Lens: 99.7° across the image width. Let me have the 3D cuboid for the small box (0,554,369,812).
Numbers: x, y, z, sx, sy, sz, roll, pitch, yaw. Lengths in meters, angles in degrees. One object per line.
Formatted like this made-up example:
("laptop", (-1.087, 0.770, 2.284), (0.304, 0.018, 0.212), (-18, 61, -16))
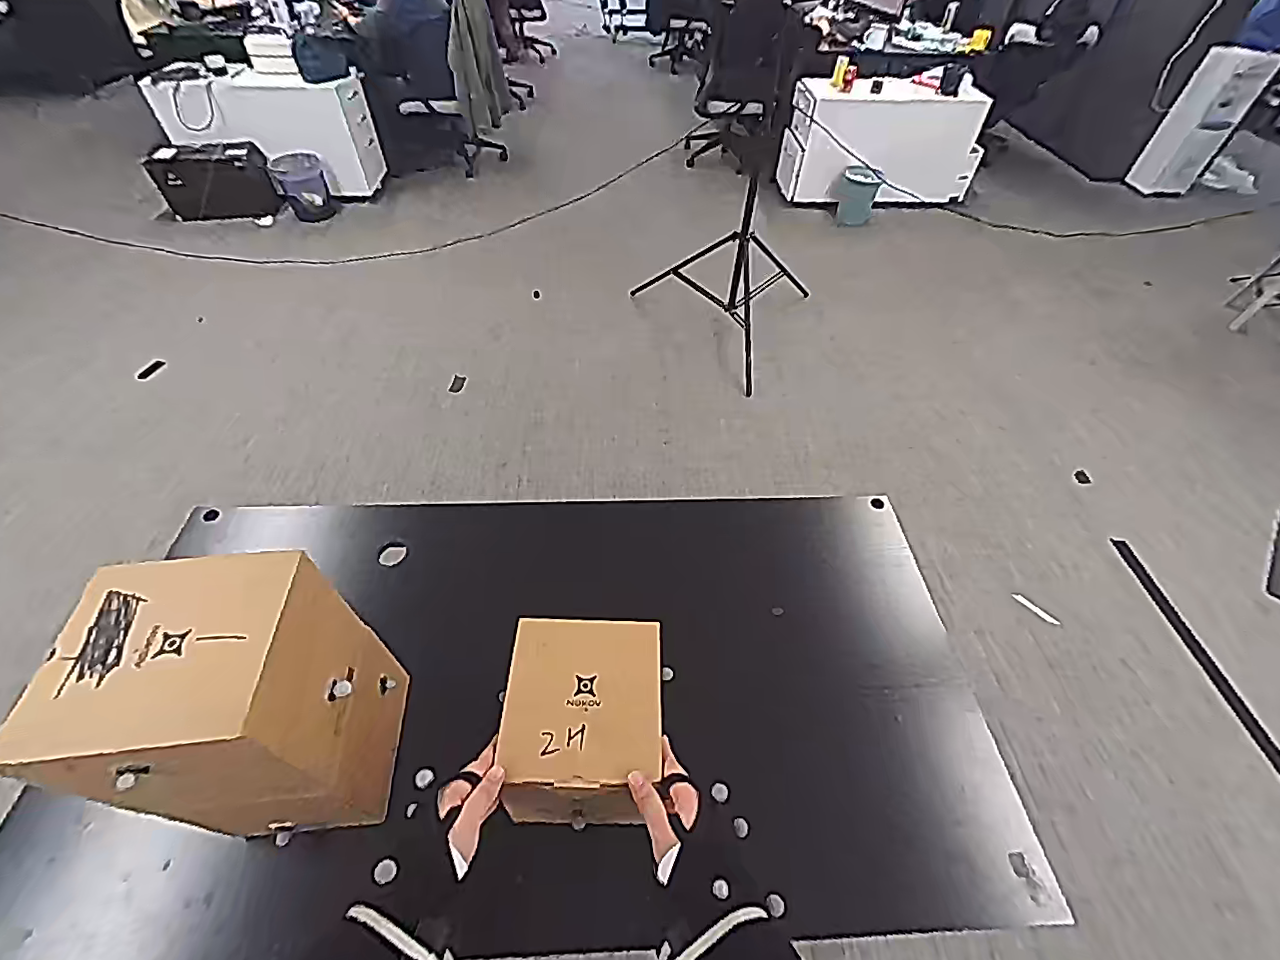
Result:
("small box", (-0.382, 0.188, 0.496), (0.179, 0.176, 0.168), (-4, 49, -6))

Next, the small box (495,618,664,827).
("small box", (-0.061, 0.282, 0.629), (0.168, 0.176, 0.179), (2, 47, -2))

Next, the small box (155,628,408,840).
("small box", (-0.384, 0.293, 0.624), (0.168, 0.176, 0.179), (-5, 51, -5))
